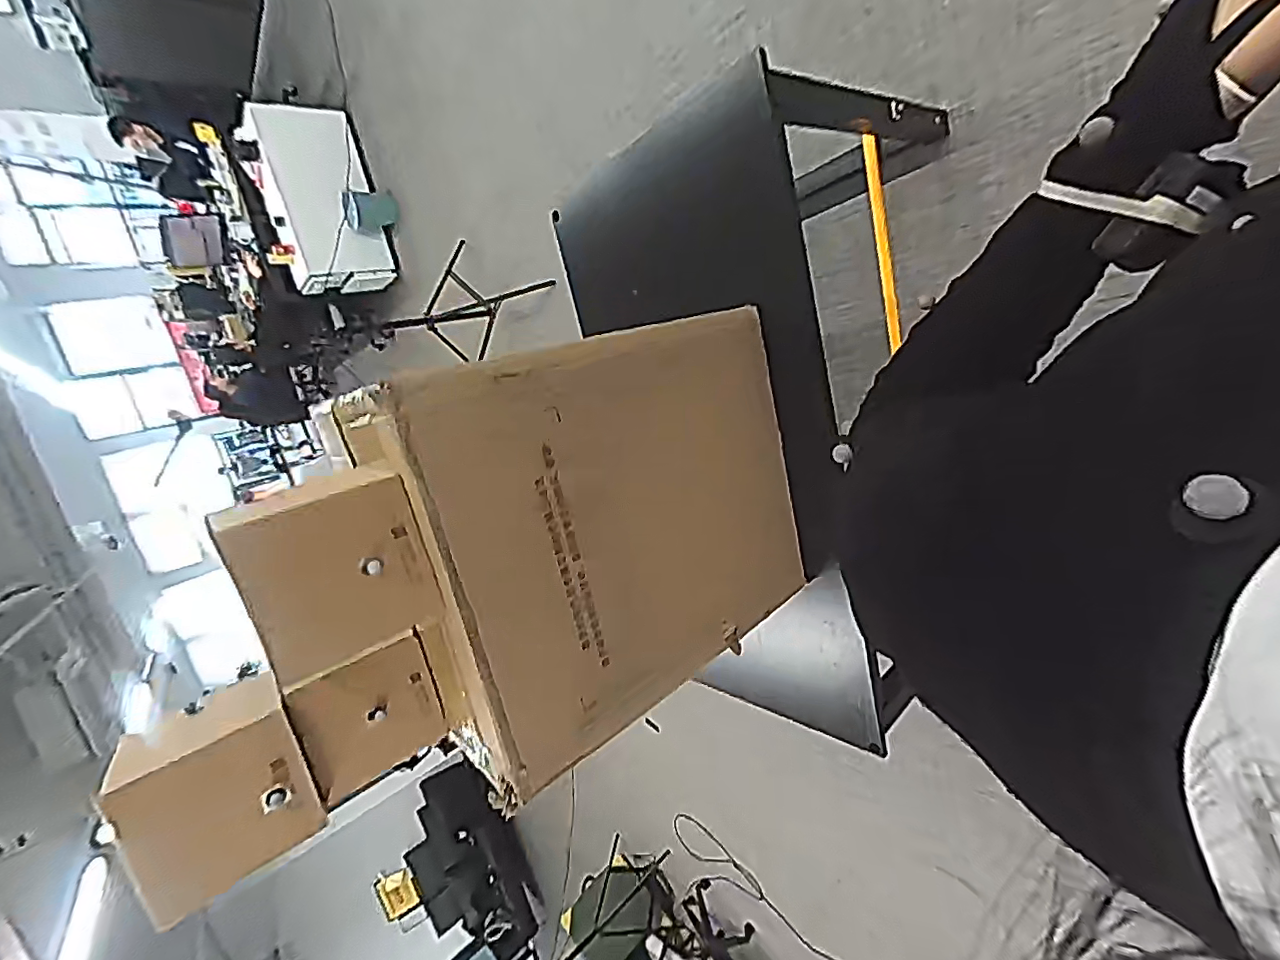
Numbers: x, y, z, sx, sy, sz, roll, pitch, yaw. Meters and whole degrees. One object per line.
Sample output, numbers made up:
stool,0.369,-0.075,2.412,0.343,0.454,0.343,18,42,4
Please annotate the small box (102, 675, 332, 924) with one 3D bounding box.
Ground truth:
small box,-0.502,0.366,0.663,0.179,0.176,0.168,-3,106,52

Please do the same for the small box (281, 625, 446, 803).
small box,-0.402,0.312,0.786,0.179,0.176,0.168,1,108,51

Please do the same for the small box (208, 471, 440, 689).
small box,-0.350,0.094,0.609,0.179,0.176,0.168,5,114,49
